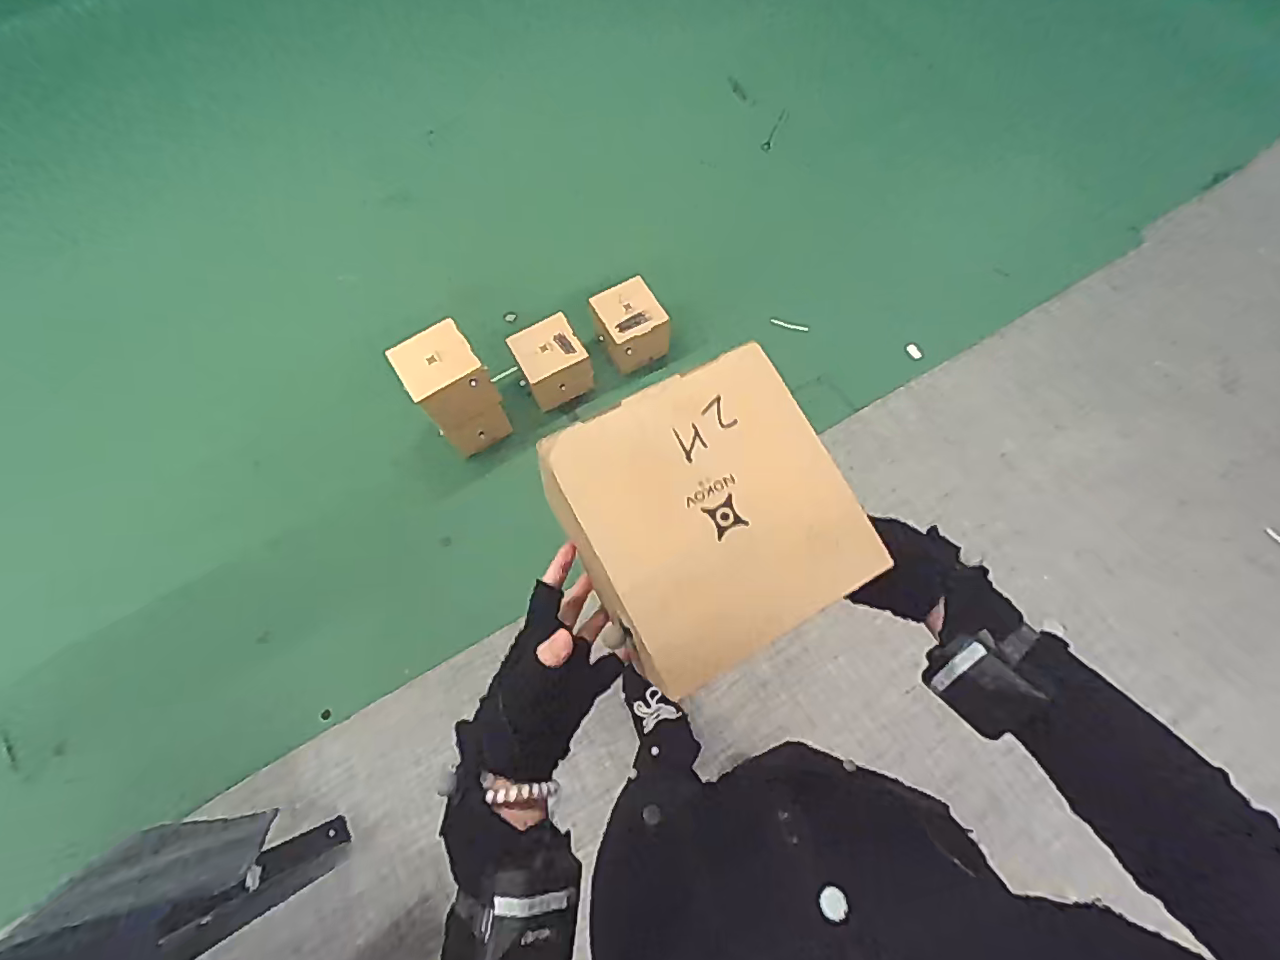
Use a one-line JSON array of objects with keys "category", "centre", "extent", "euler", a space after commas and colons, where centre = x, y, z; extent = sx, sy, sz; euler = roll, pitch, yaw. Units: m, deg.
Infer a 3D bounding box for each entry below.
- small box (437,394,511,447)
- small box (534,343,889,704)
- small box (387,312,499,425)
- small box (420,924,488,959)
[{"category": "small box", "centre": [-0.473, -0.208, 1.473], "extent": [0.168, 0.176, 0.179], "euler": [-31, 74, -9]}, {"category": "small box", "centre": [0.036, 0.034, 0.407], "extent": [0.168, 0.176, 0.179], "euler": [-27, 82, -13]}, {"category": "small box", "centre": [-0.473, -0.264, 1.320], "extent": [0.179, 0.176, 0.168], "euler": [-32, 73, -10]}, {"category": "small box", "centre": [-0.394, 1.029, 1.044], "extent": [0.179, 0.176, 0.168], "euler": [-42, 76, -12]}]
